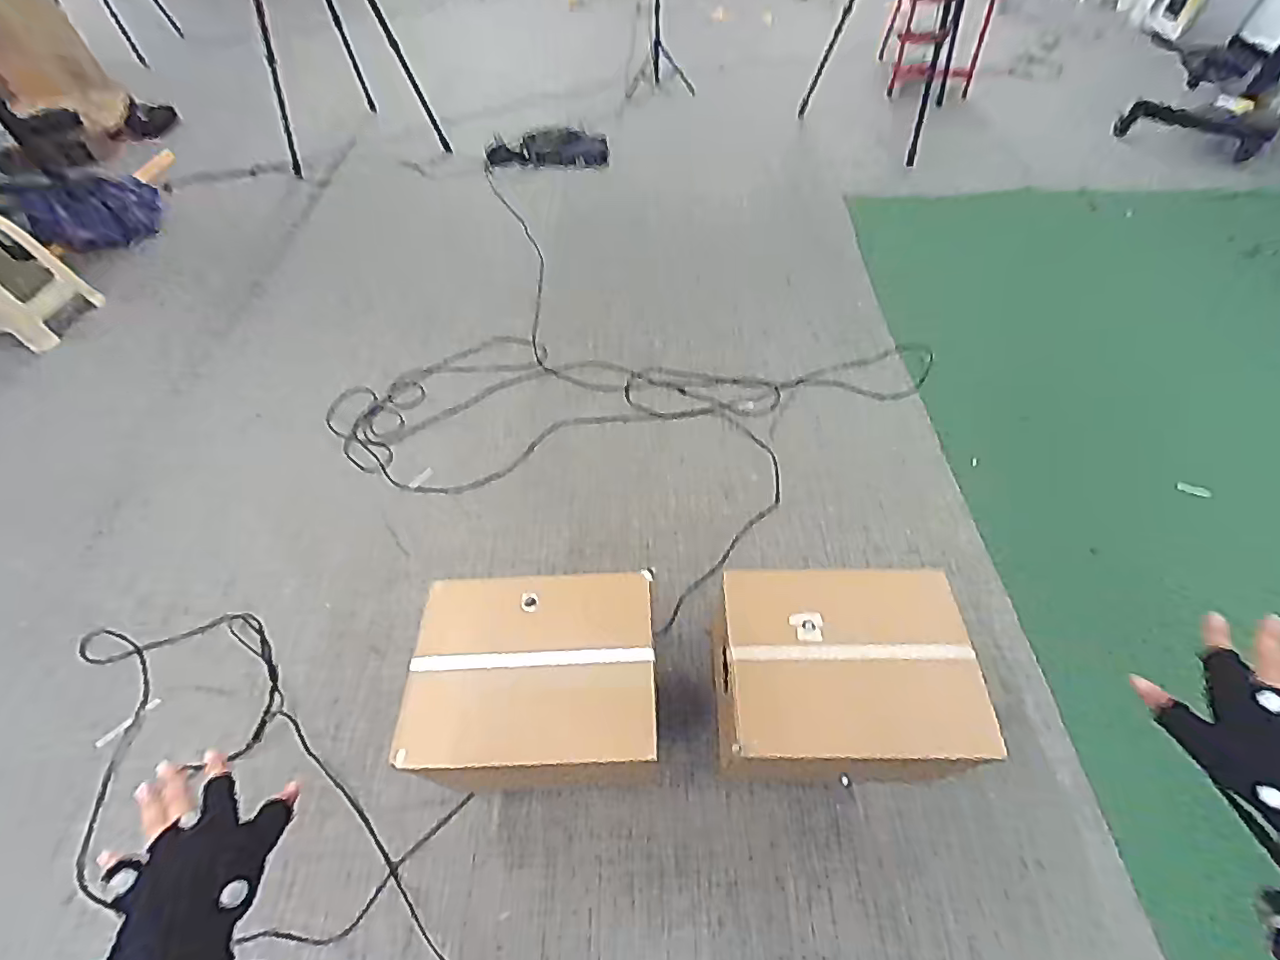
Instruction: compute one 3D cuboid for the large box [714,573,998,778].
[{"bbox_3d":[0.363,0.387,1.041,0.408,0.320,0.320,-1,54,2],"label":"large box"}]
